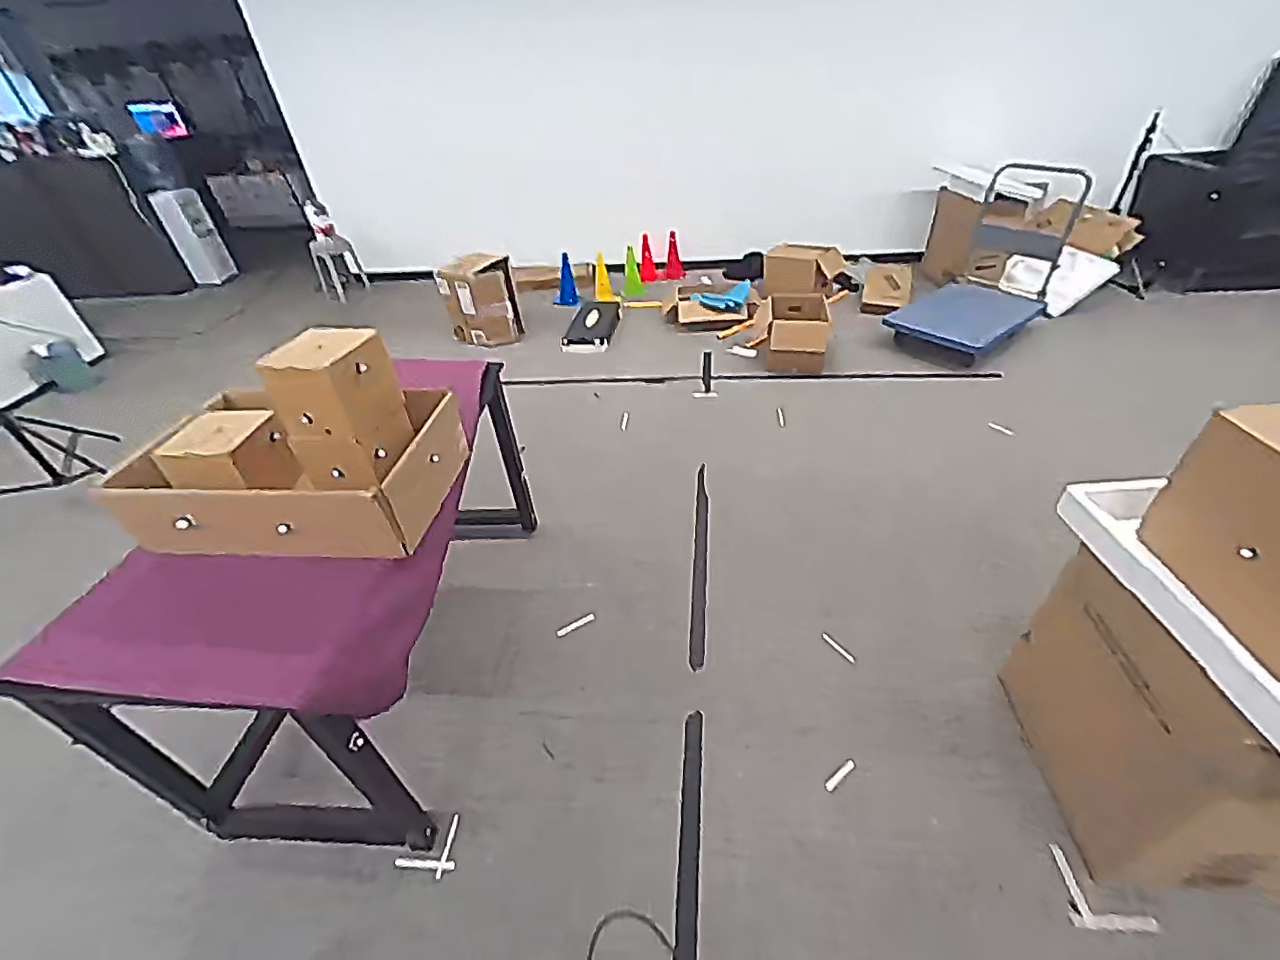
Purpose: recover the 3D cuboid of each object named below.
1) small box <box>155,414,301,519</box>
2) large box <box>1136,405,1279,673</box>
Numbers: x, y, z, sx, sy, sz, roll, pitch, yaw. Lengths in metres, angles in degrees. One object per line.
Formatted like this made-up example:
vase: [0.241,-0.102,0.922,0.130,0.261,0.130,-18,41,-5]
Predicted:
small box: [-0.893,-0.032,1.199,0.168,0.176,0.179,-1,38,3]
large box: [1.185,0.107,0.897,0.320,0.320,0.408,-2,37,3]
